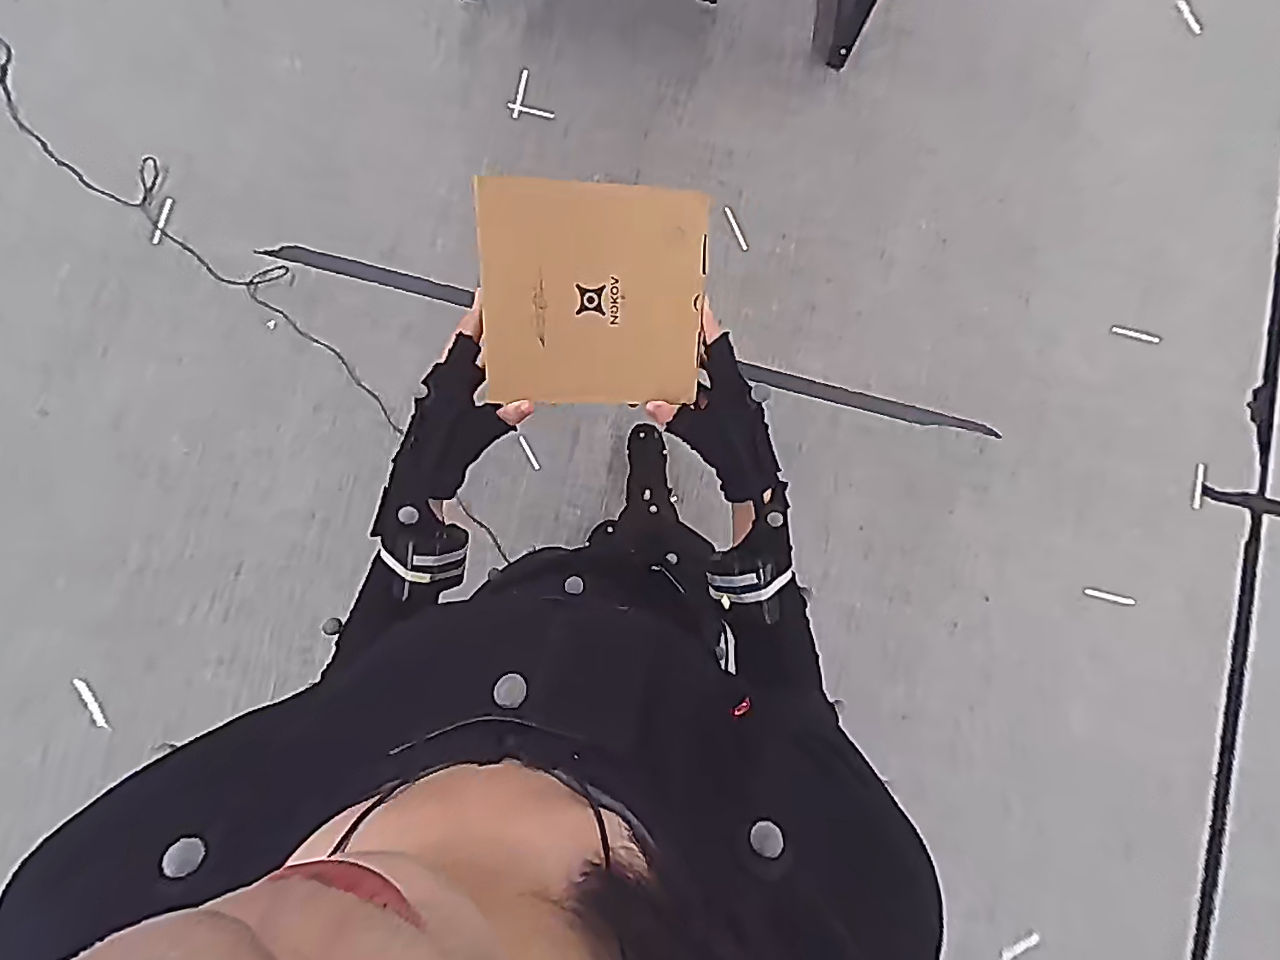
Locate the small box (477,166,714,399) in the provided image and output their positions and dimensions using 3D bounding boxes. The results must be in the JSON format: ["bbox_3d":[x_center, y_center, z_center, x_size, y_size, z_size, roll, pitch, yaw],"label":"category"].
[{"bbox_3d":[-0.043,-0.167,0.489,0.179,0.176,0.168,-2,107,-8],"label":"small box"}]
